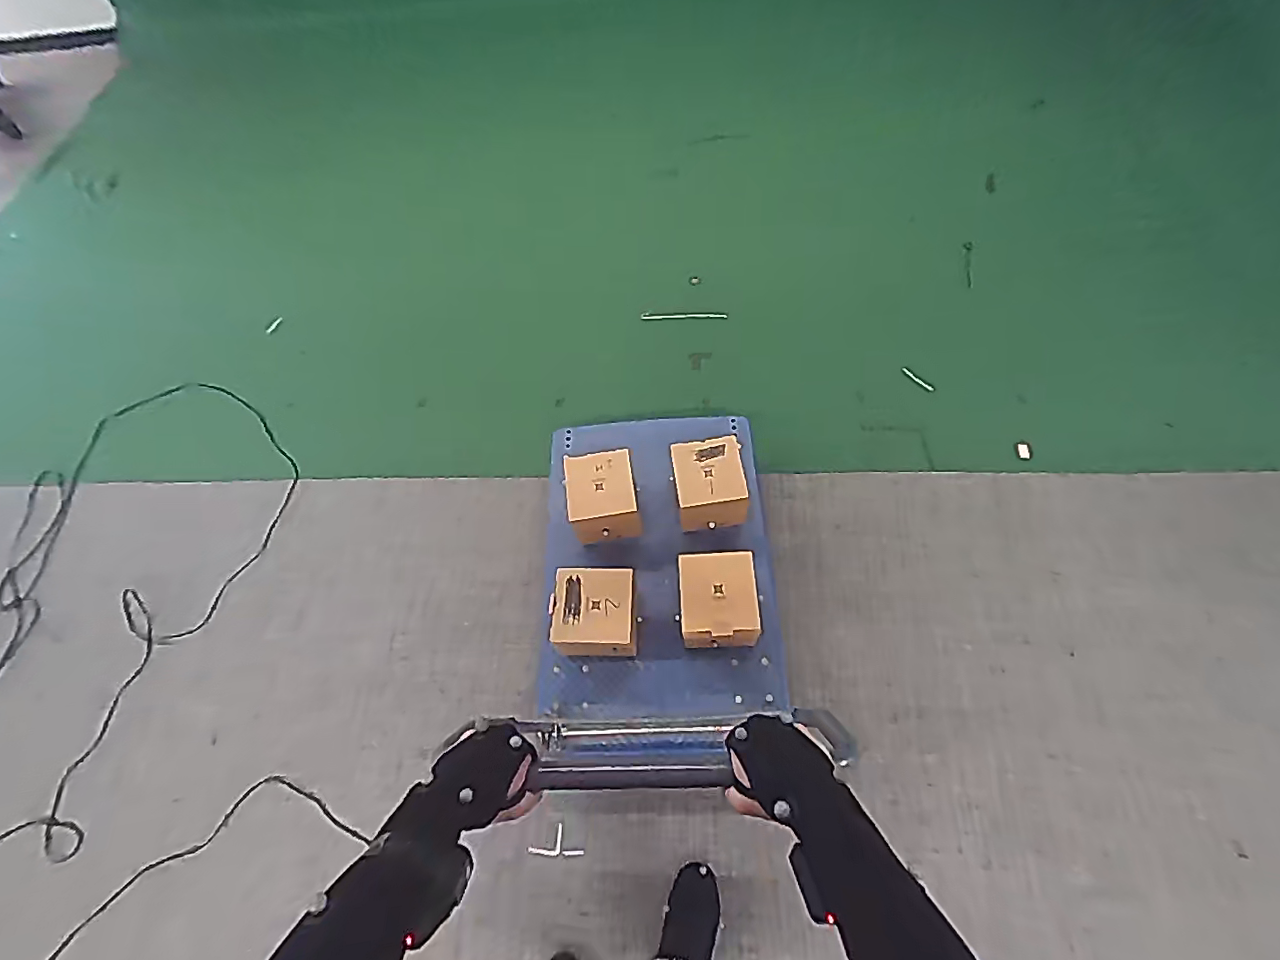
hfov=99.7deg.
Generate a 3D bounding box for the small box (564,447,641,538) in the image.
[{"bbox_3d":[-0.093,0.040,1.384,0.168,0.176,0.179,-9,63,0],"label":"small box"}]

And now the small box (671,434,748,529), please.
[{"bbox_3d":[0.171,0.006,1.376,0.168,0.176,0.179,-8,64,2],"label":"small box"}]

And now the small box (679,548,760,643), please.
[{"bbox_3d":[0.176,0.269,1.246,0.168,0.176,0.179,-3,64,4],"label":"small box"}]
